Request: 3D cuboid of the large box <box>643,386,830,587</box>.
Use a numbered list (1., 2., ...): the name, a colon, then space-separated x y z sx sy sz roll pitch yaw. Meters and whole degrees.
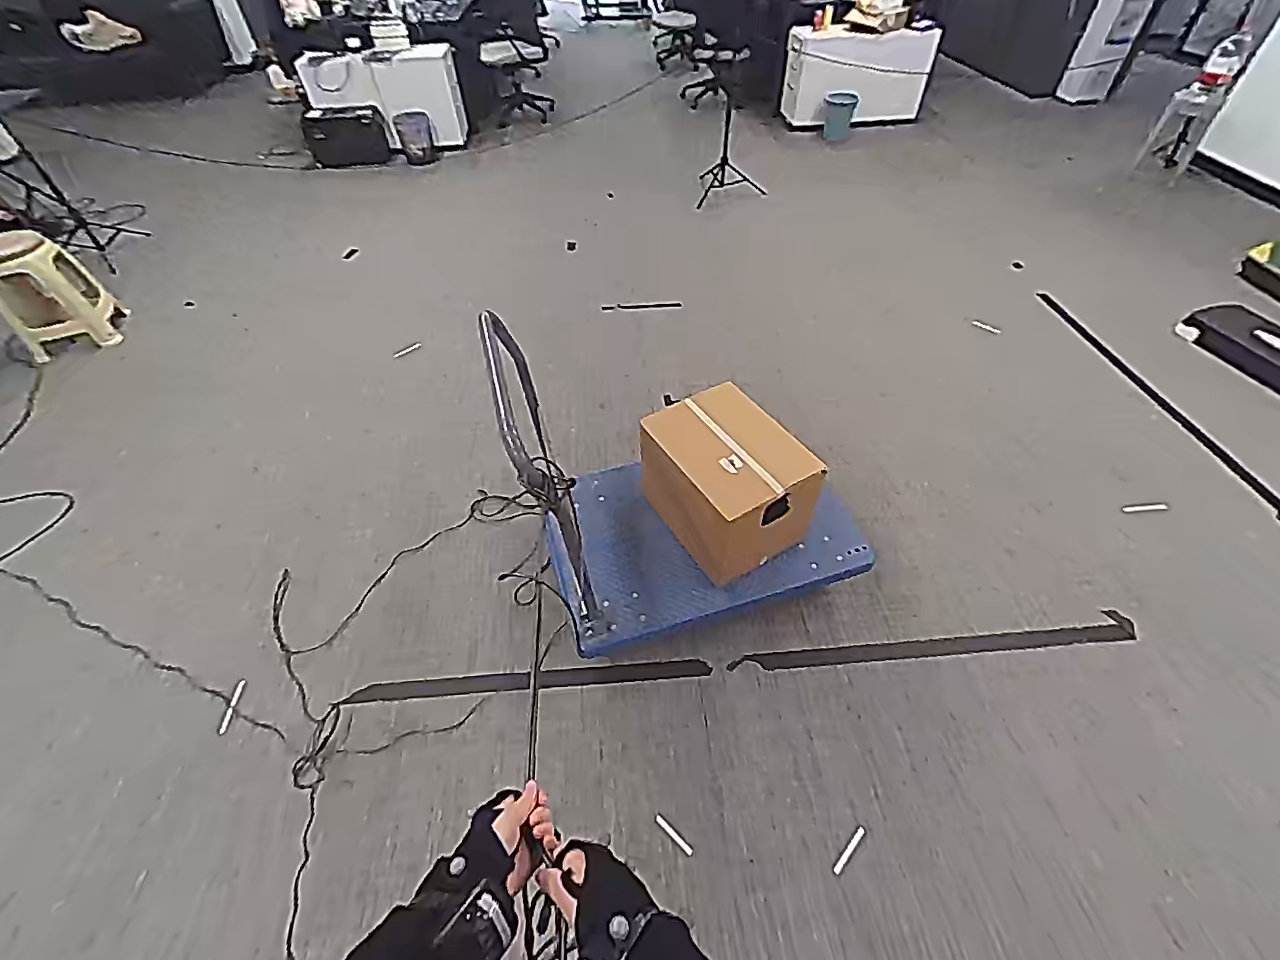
1. large box: 0.239 0.011 1.509 0.320 0.320 0.408 -26 54 -18
